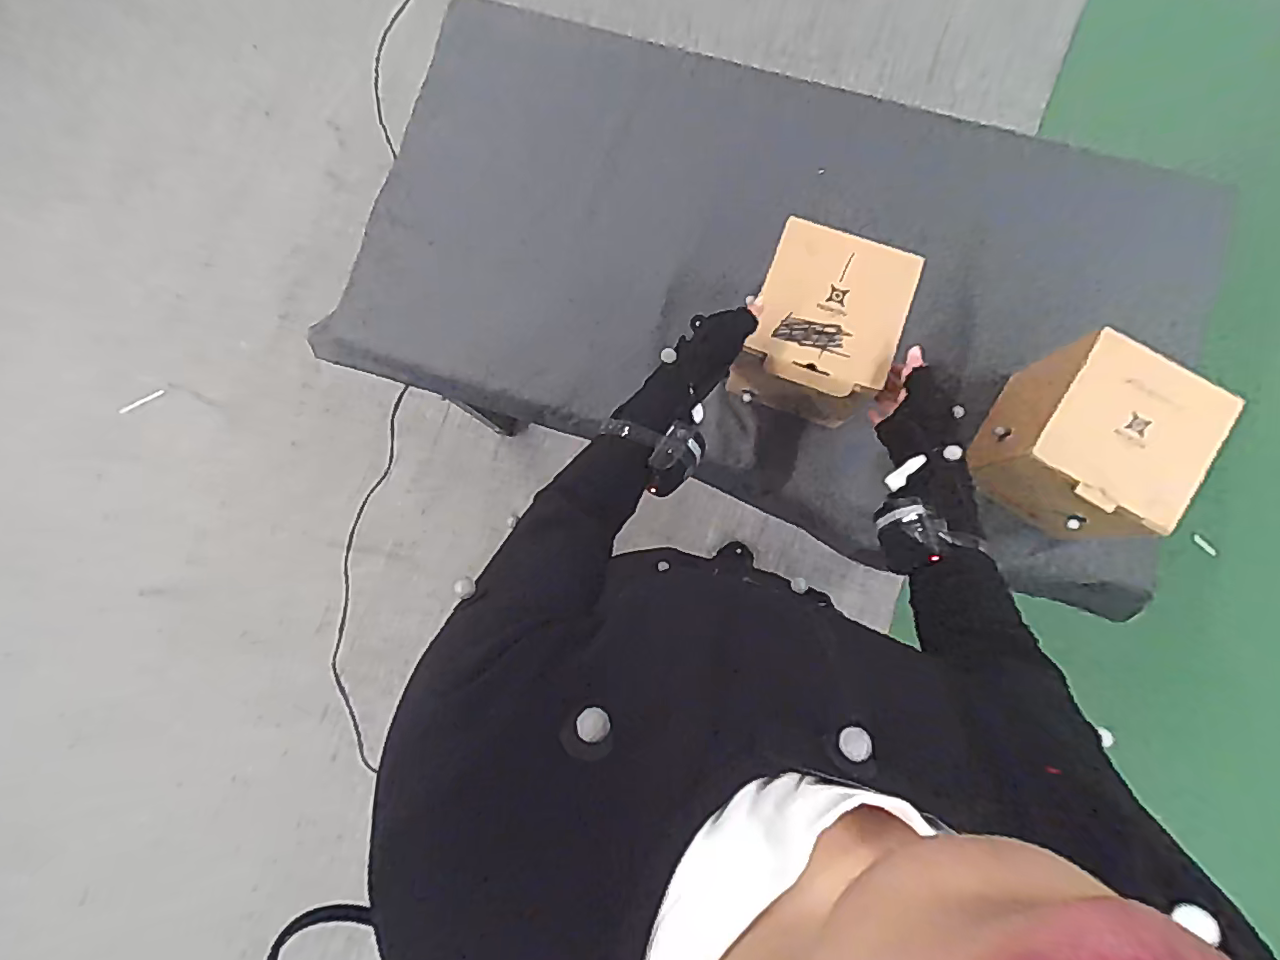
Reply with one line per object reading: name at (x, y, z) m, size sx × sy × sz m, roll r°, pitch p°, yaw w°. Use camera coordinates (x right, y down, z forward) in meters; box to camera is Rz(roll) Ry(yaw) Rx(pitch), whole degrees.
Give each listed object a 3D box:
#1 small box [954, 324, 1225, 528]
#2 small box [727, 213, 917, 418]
small box at (0.533, -0.052, 0.673) m, size 0.168 × 0.176 × 0.179 m, roll 32°, pitch 84°, yaw 5°
small box at (0.220, -0.199, 0.702) m, size 0.168 × 0.176 × 0.179 m, roll 21°, pitch 83°, yaw 5°
